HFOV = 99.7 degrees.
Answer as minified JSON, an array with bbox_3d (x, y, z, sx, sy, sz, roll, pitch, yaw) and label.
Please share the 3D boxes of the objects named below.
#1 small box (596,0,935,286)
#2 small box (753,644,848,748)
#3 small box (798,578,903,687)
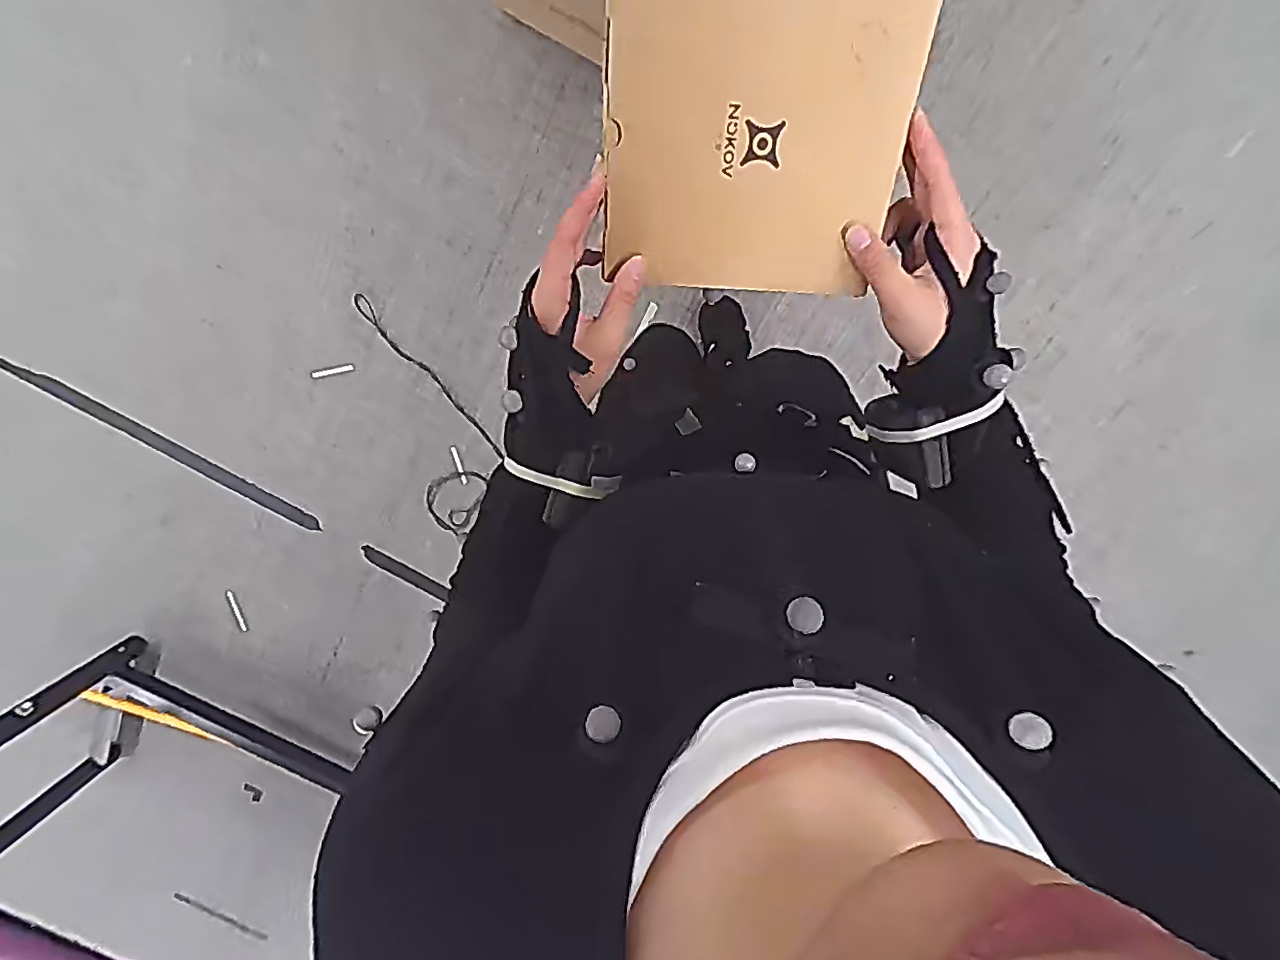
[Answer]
[{"bbox_3d":[0.062,-0.243,0.376,0.179,0.176,0.168,3,122,-2],"label":"small box"},{"bbox_3d":[0.427,0.579,1.471,0.179,0.176,0.168,28,108,-3],"label":"small box"},{"bbox_3d":[0.532,0.386,1.398,0.168,0.176,0.179,29,108,-4],"label":"small box"}]
